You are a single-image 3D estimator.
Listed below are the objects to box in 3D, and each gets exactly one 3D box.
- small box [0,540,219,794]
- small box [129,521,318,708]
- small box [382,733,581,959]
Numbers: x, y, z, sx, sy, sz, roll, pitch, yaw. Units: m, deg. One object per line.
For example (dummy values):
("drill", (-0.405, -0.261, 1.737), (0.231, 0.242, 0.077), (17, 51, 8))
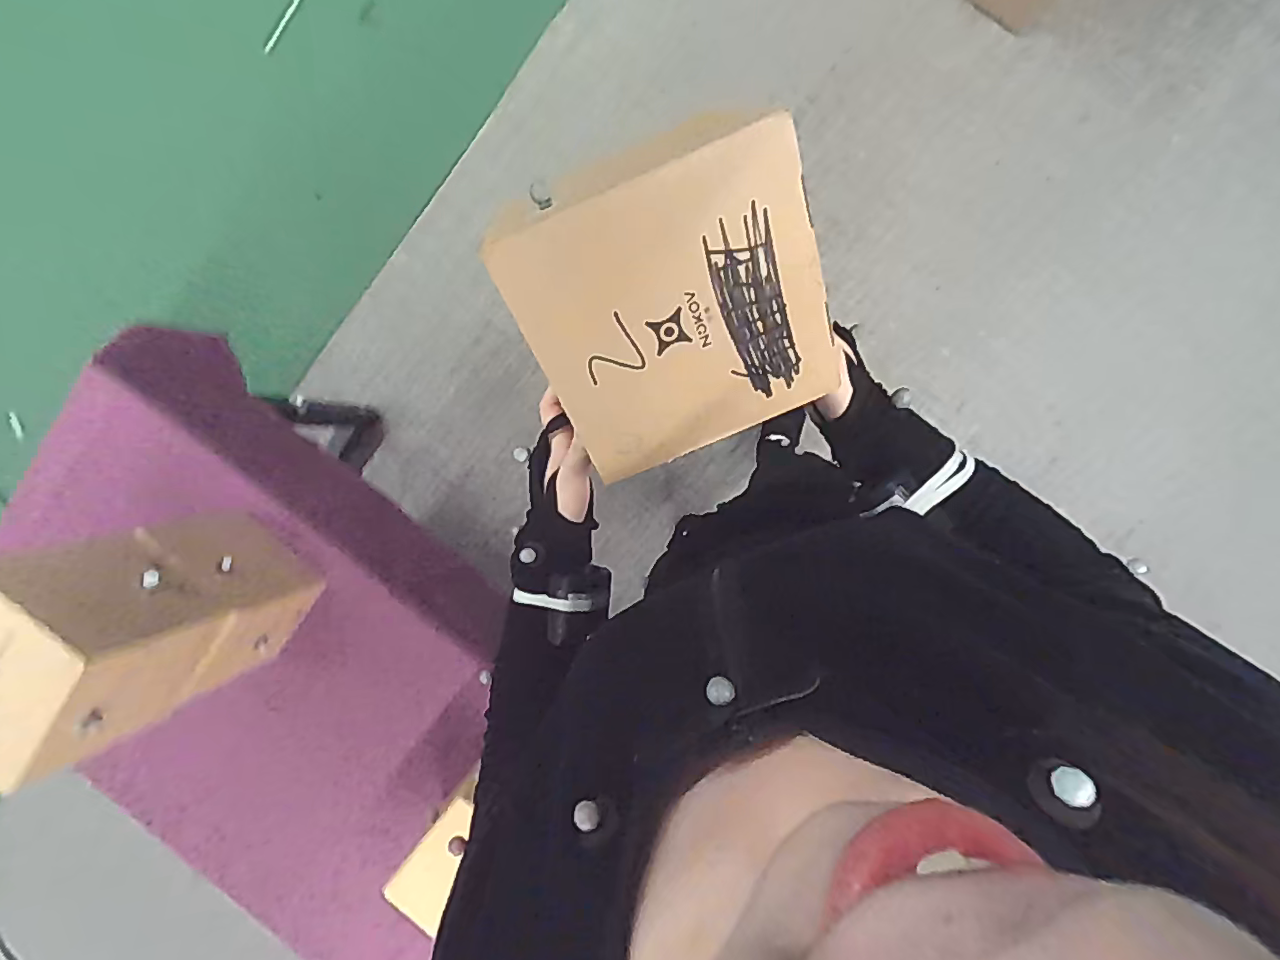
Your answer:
("small box", (-0.634, 0.191, 0.607), (0.168, 0.176, 0.179), (36, 96, 3))
("small box", (-0.611, 0.174, 0.769), (0.179, 0.176, 0.168), (38, 96, 3))
("small box", (-0.202, 0.497, 0.743), (0.168, 0.176, 0.179), (38, 96, 3))
